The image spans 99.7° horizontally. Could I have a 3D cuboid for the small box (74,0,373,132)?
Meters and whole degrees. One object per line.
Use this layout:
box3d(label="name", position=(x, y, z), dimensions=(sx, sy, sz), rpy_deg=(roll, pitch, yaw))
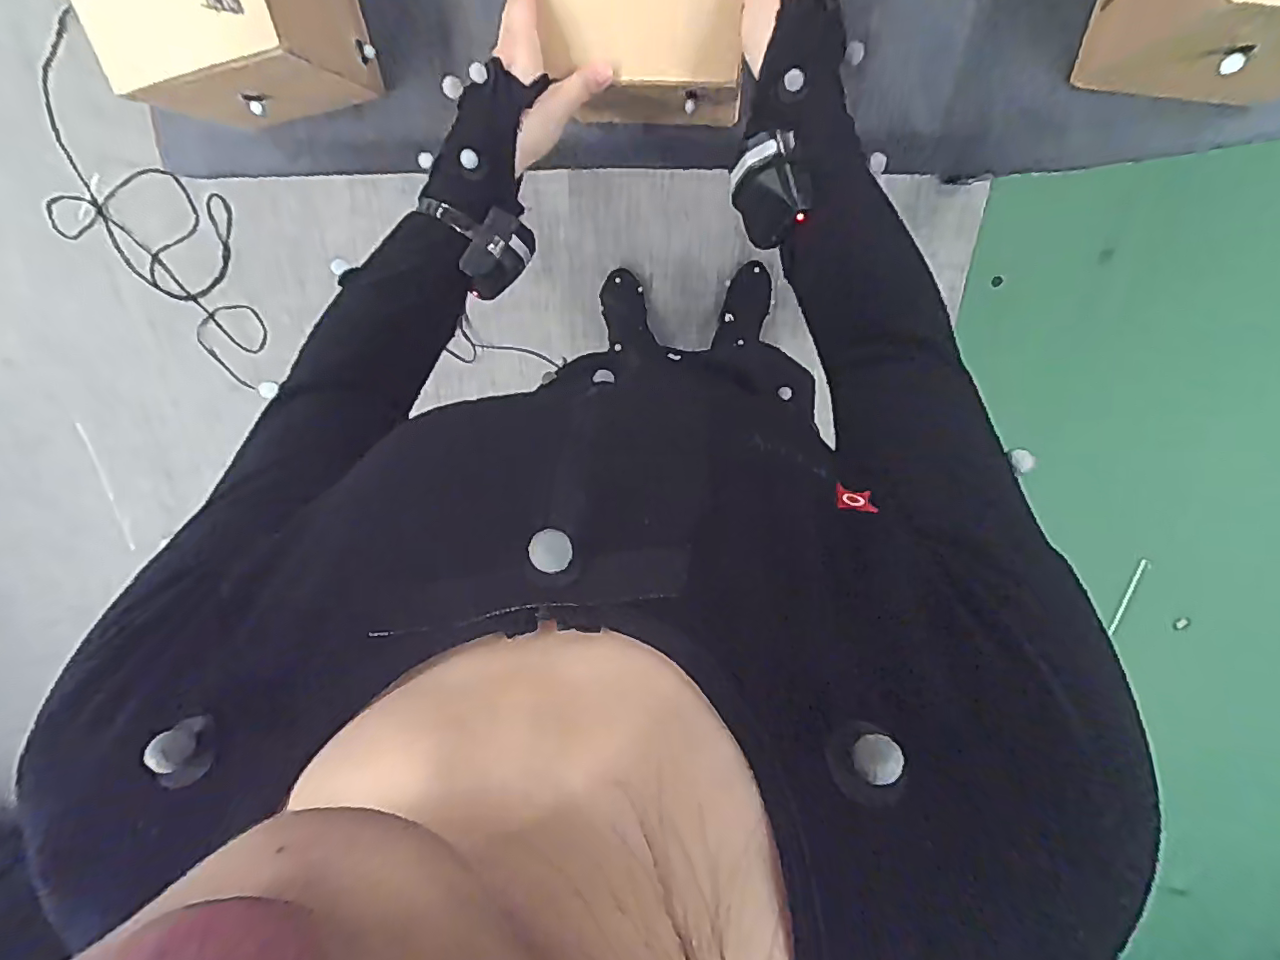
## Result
box3d(label="small box", position=(-0.387, -0.454, 0.514), dimensions=(0.179, 0.176, 0.168), rpy_deg=(-7, 113, 10))

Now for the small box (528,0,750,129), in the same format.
box3d(label="small box", position=(0.008, -0.425, 0.483), dimensions=(0.179, 0.176, 0.168), rpy_deg=(5, 114, 5))
